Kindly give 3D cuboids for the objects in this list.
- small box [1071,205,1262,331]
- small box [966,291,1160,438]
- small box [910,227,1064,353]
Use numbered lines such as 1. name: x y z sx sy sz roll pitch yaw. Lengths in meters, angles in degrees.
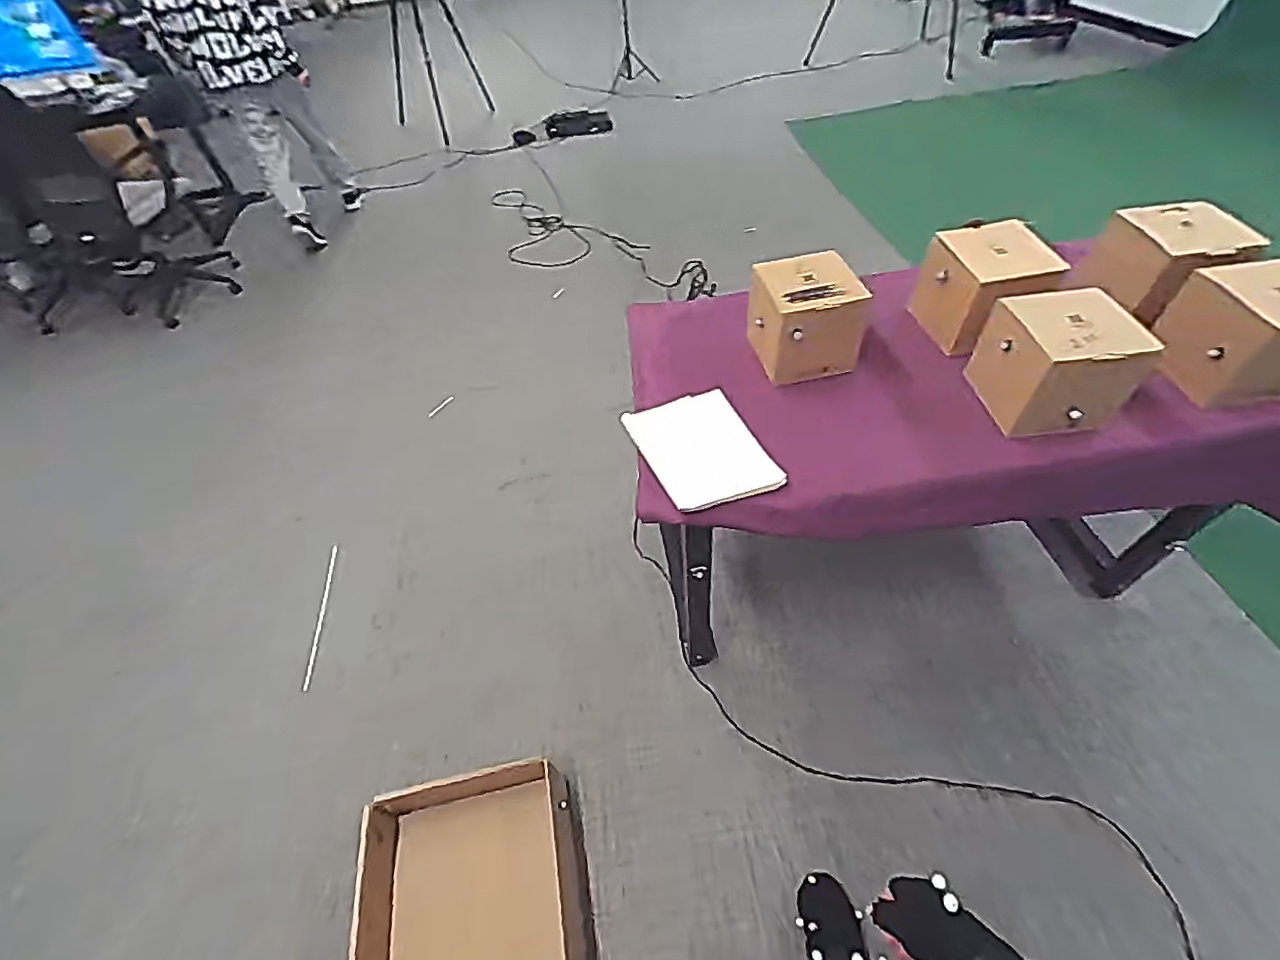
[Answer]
1. small box: 1.004 -0.405 1.054 0.168 0.176 0.179 -4 51 3
2. small box: 0.693 -0.194 0.917 0.168 0.176 0.179 -6 50 2
3. small box: 0.666 -0.366 1.065 0.168 0.176 0.179 -10 50 -1
